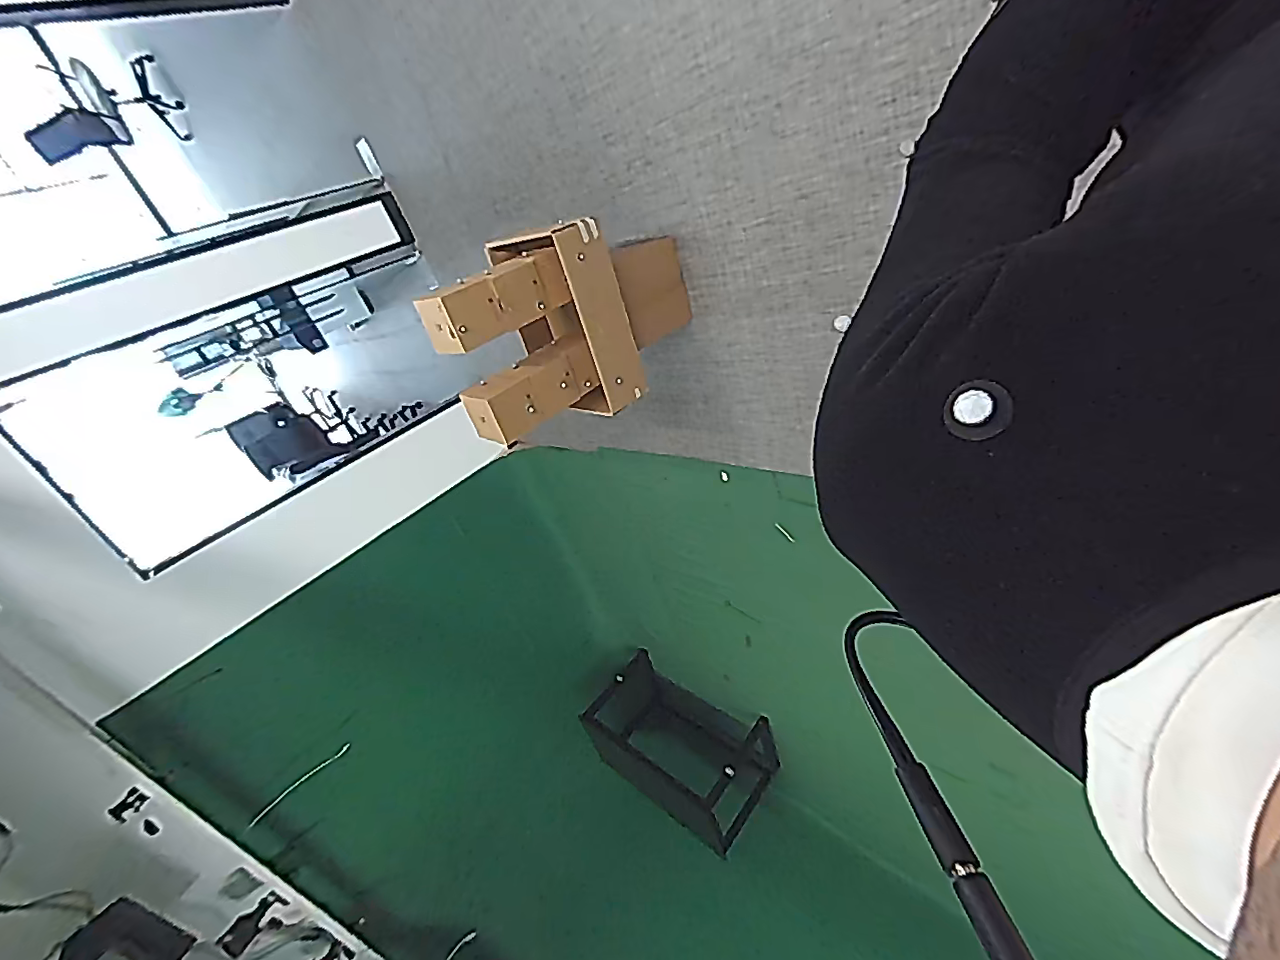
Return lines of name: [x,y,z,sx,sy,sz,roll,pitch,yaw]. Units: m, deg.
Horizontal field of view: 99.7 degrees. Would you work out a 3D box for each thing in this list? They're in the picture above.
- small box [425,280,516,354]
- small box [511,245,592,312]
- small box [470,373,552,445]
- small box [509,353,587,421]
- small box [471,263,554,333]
small box: [-0.505,-0.491,1.629,0.179,0.176,0.168,13,132,44]
small box: [-0.292,-0.670,1.803,0.179,0.176,0.168,14,133,42]
small box: [-0.420,-0.240,1.780,0.179,0.176,0.168,17,136,42]
small box: [-0.313,-0.328,1.866,0.179,0.176,0.168,17,136,42]
small box: [-0.394,-0.578,1.712,0.179,0.176,0.168,16,134,42]
